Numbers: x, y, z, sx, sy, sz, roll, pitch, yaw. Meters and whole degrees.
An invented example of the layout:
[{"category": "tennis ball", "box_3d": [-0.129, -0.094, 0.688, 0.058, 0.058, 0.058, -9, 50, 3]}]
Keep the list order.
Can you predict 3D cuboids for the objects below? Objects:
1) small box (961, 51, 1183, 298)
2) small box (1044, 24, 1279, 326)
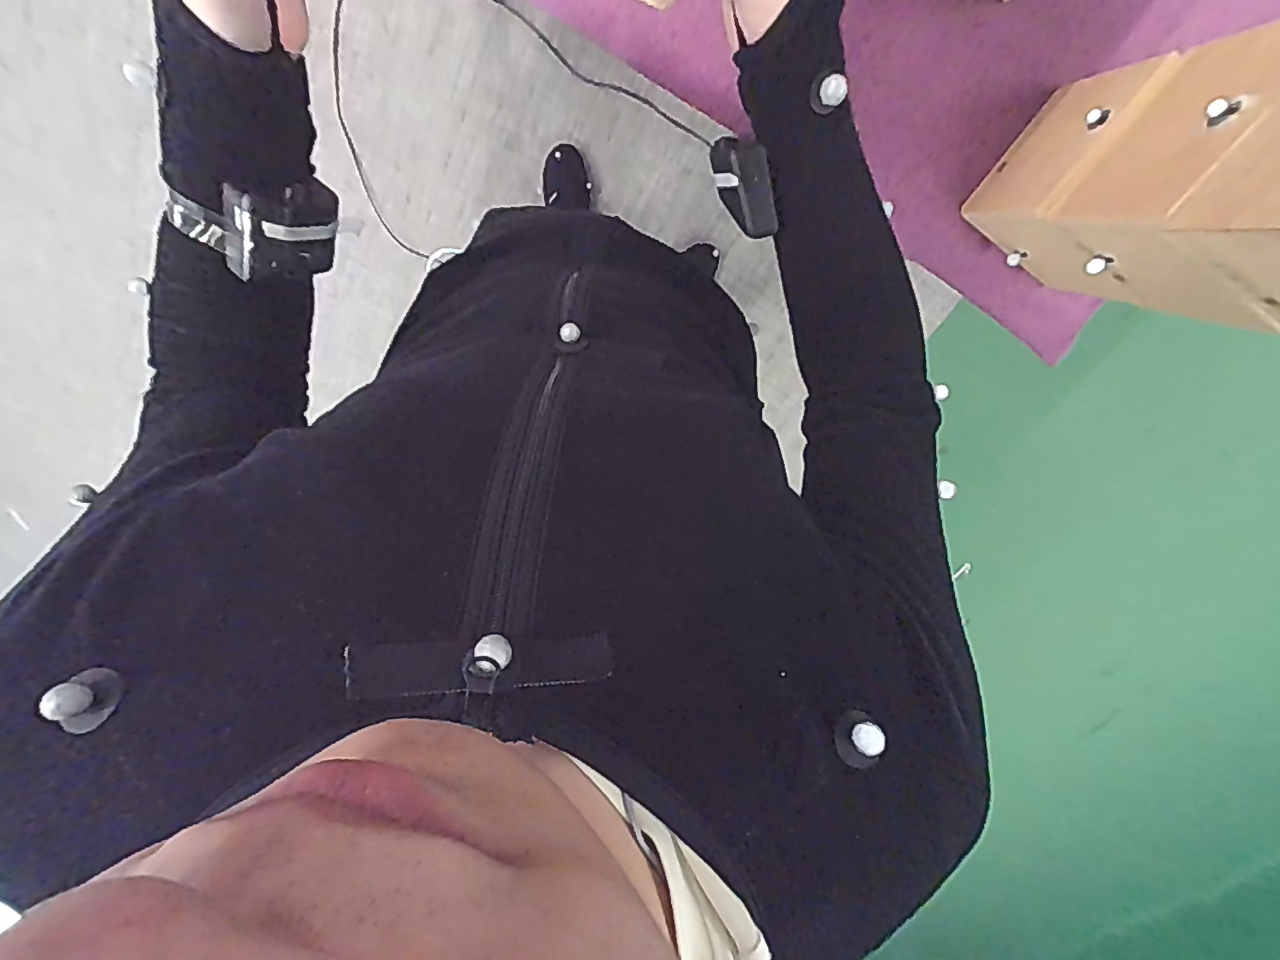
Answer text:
[{"category": "small box", "box_3d": [0.531, -0.344, 0.632, 0.179, 0.176, 0.168, 30, 114, -13]}, {"category": "small box", "box_3d": [0.529, -0.271, 0.485, 0.168, 0.176, 0.179, 31, 114, -11]}]
